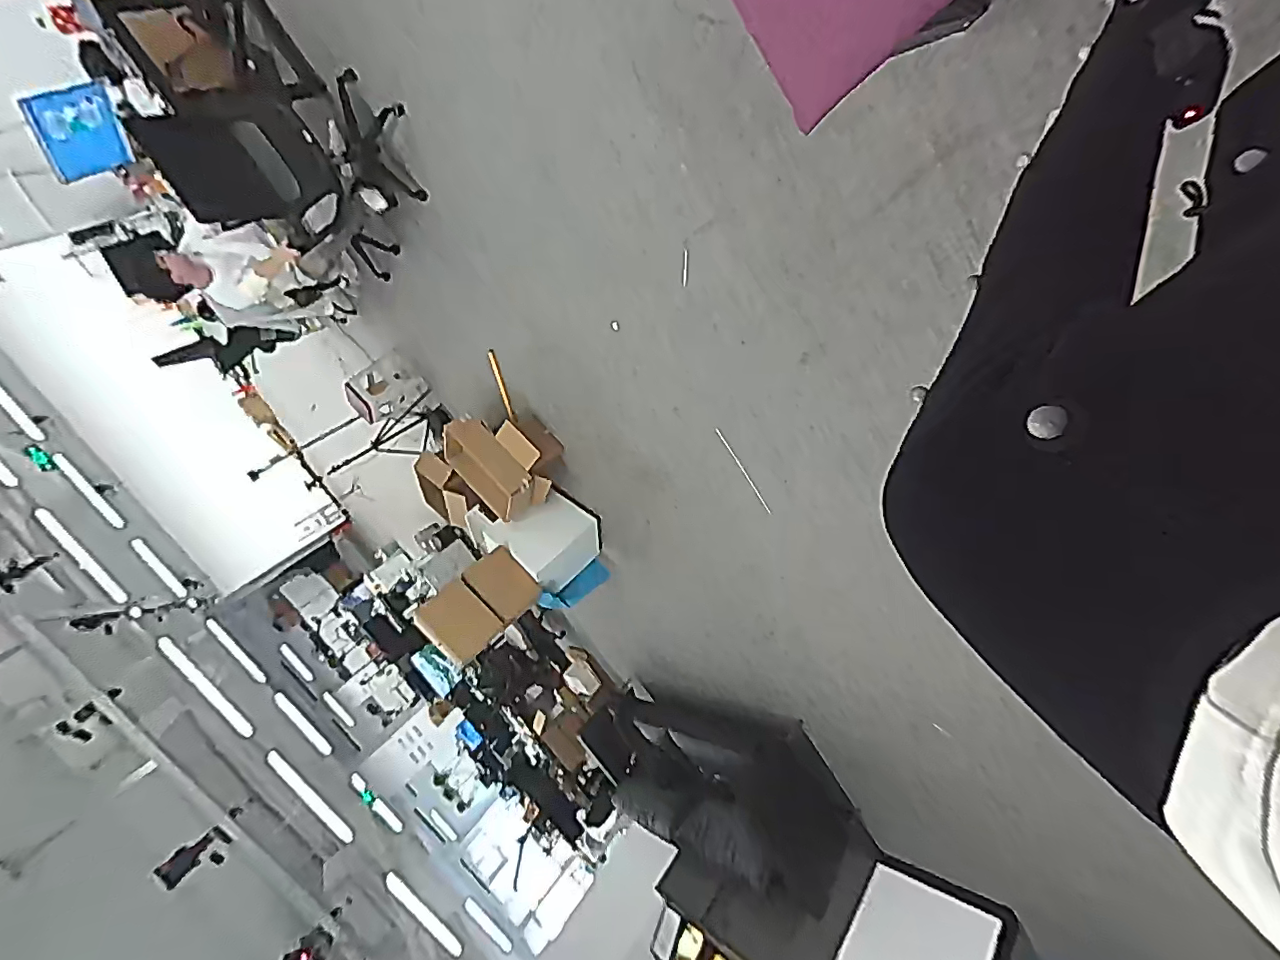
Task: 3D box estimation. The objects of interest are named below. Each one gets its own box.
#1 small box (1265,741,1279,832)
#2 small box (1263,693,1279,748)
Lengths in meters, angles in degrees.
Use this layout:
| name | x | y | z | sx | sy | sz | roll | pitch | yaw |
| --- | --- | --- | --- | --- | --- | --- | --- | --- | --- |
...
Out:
| name | x | y | z | sx | sy | sz | roll | pitch | yaw |
| --- | --- | --- | --- | --- | --- | --- | --- | --- | --- |
| small box | 1.708 | 0.790 | 1.352 | 0.179 | 0.176 | 0.168 | -8 | 118 | 53 |
| small box | 1.810 | 0.695 | 1.438 | 0.179 | 0.176 | 0.168 | -11 | 116 | 55 |
